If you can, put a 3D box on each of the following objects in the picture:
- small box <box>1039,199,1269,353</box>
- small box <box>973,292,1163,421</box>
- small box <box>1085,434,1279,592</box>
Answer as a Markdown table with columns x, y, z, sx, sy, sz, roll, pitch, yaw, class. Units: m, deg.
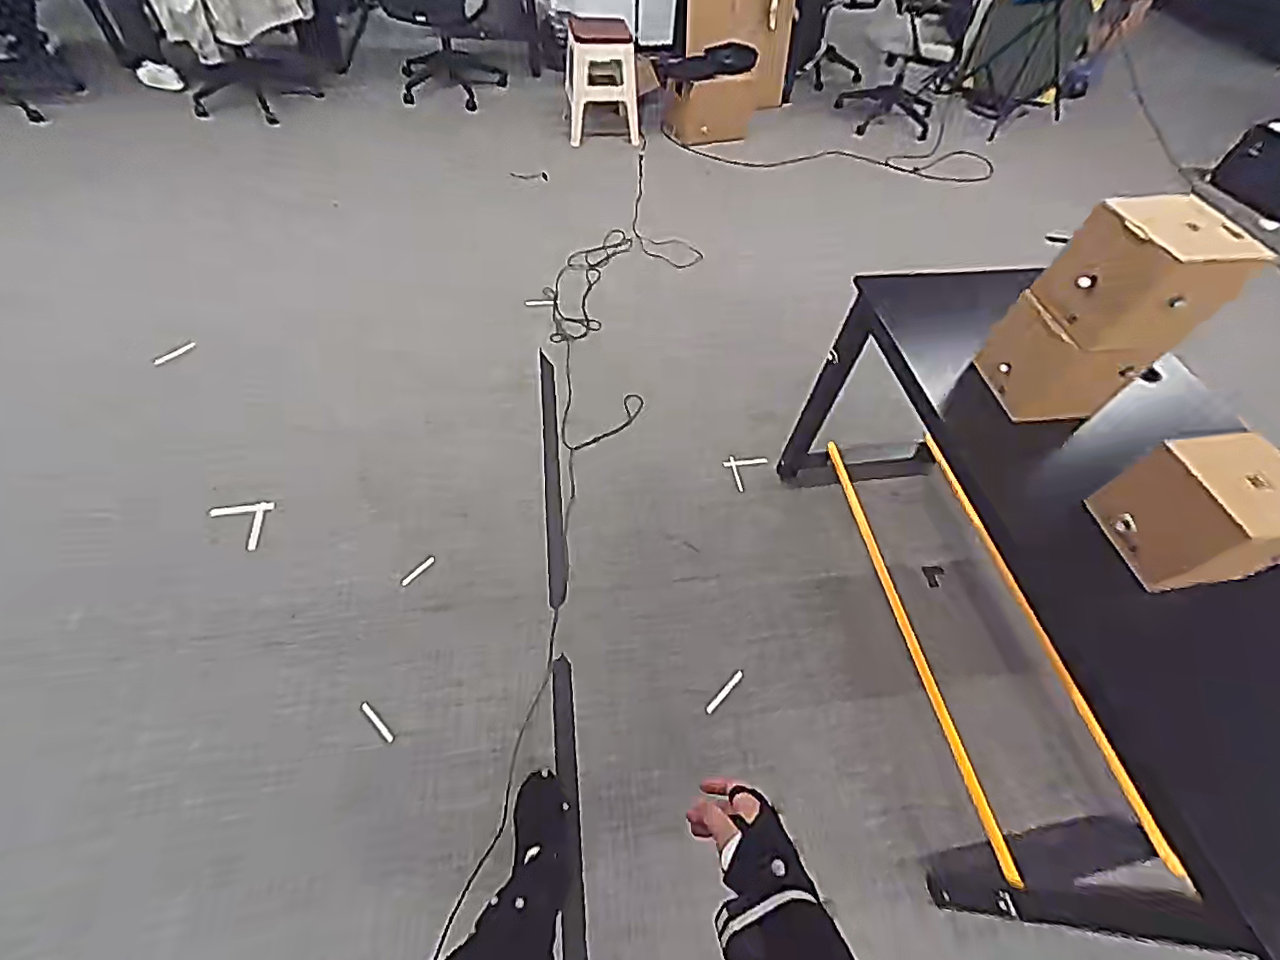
| x | y | z | sx | sy | sz | roll | pitch | yaw | class |
| --- | --- | --- | --- | --- | --- | --- | --- | --- | --- |
| 0.787 | -0.319 | 0.859 | 0.179 | 0.176 | 0.168 | -7 | 57 | -9 | small box |
| 0.766 | -0.224 | 0.991 | 0.179 | 0.176 | 0.168 | -4 | 56 | -8 | small box |
| 0.842 | 0.052 | 0.812 | 0.179 | 0.176 | 0.168 | -7 | 55 | -9 | small box |
